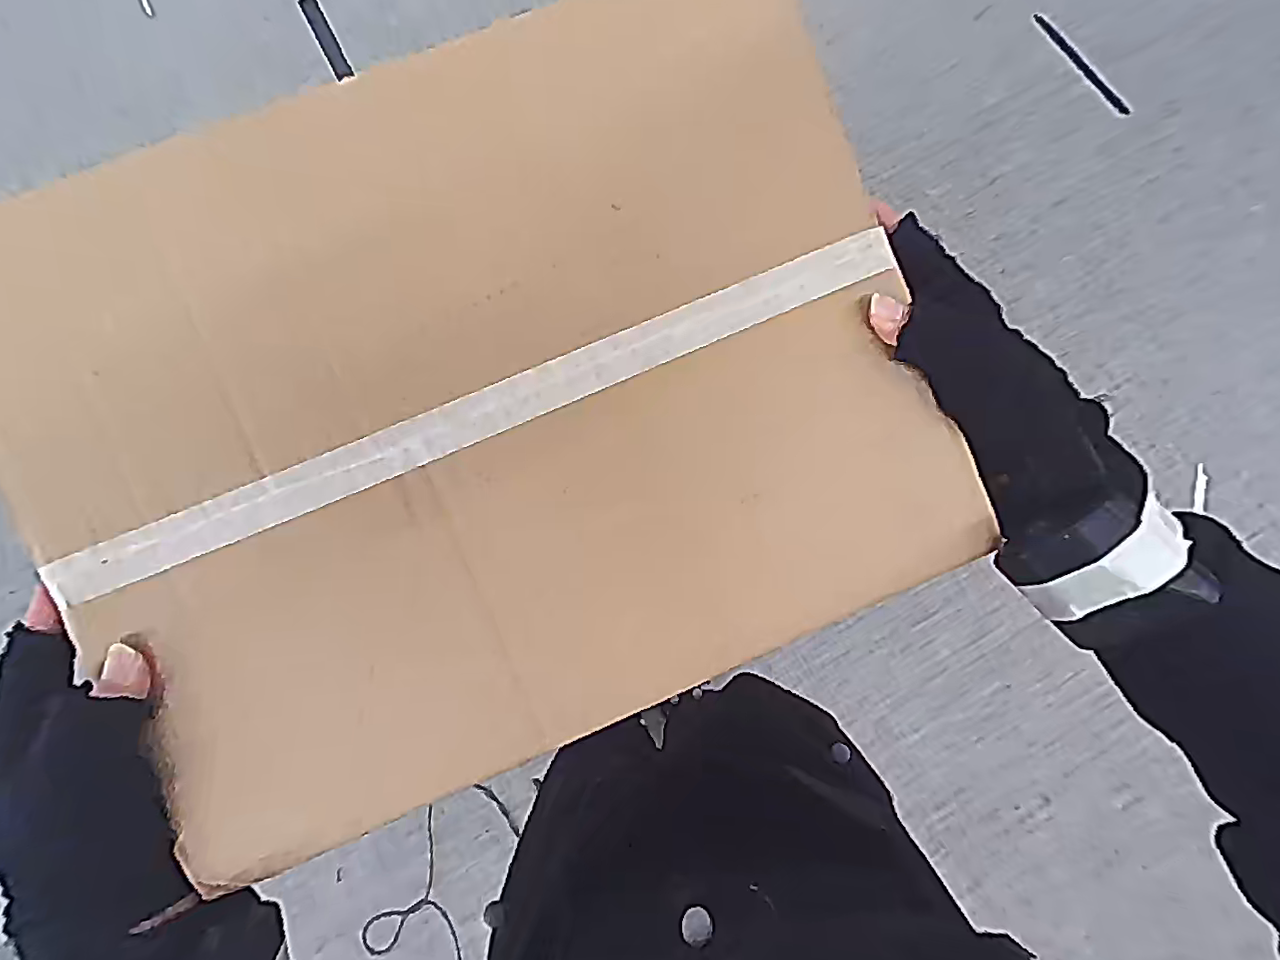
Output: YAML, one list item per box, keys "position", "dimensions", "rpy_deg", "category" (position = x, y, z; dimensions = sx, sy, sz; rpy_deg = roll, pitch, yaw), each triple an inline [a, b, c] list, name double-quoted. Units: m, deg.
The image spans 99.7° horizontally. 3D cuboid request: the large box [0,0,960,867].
- position: [-0.080, -0.038, 0.407]
  dimensions: [0.408, 0.320, 0.320]
  rpy_deg: [-23, 93, -4]
  category: "large box"
